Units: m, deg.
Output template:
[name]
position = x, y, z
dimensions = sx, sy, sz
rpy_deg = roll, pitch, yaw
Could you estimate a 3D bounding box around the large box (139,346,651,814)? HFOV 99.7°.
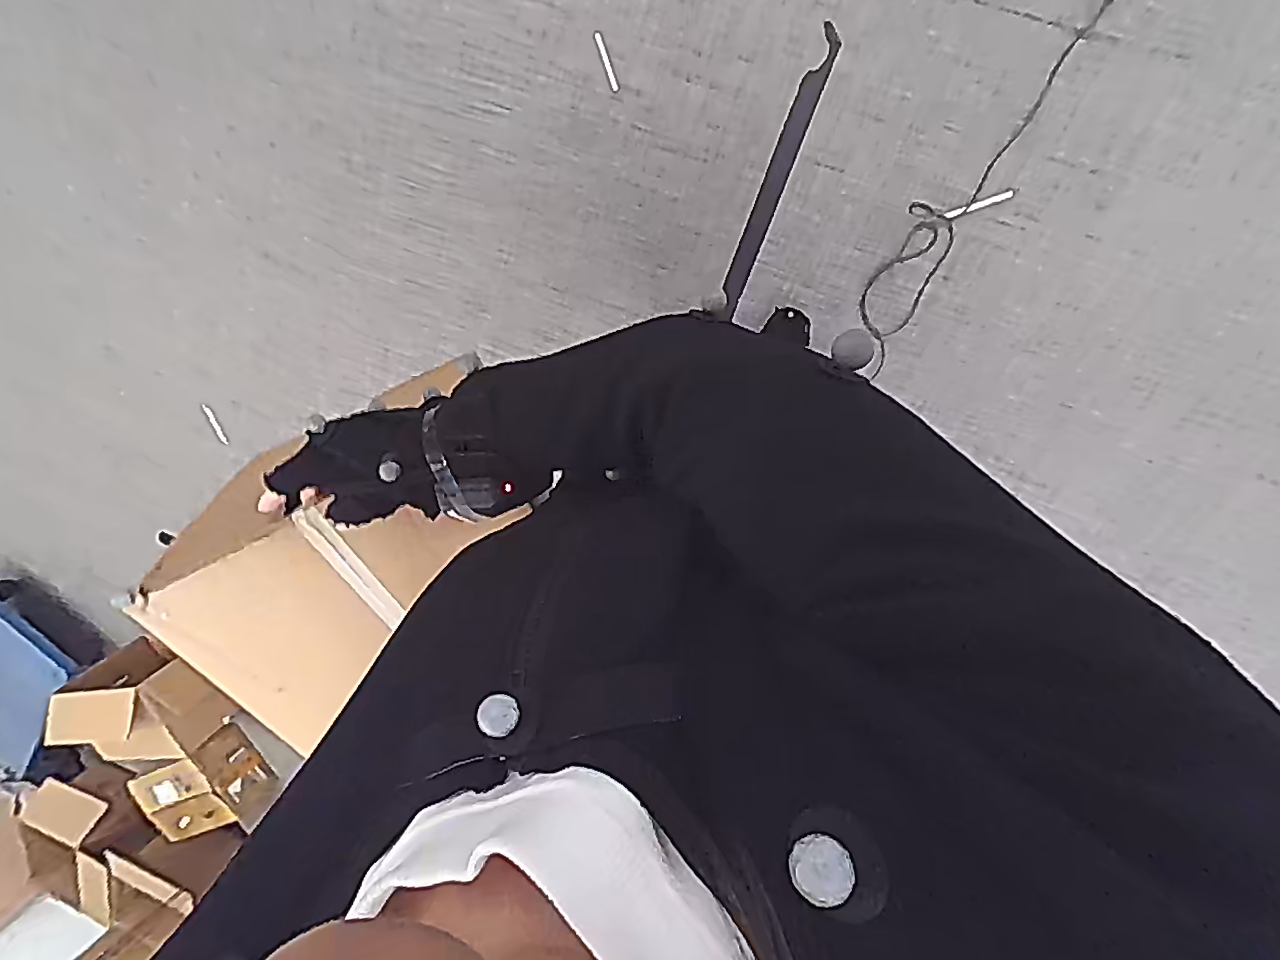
[large box]
position = -0.235, 0.102, 0.668
dimensions = 0.320, 0.320, 0.408
rpy_deg = -28, 118, -5
